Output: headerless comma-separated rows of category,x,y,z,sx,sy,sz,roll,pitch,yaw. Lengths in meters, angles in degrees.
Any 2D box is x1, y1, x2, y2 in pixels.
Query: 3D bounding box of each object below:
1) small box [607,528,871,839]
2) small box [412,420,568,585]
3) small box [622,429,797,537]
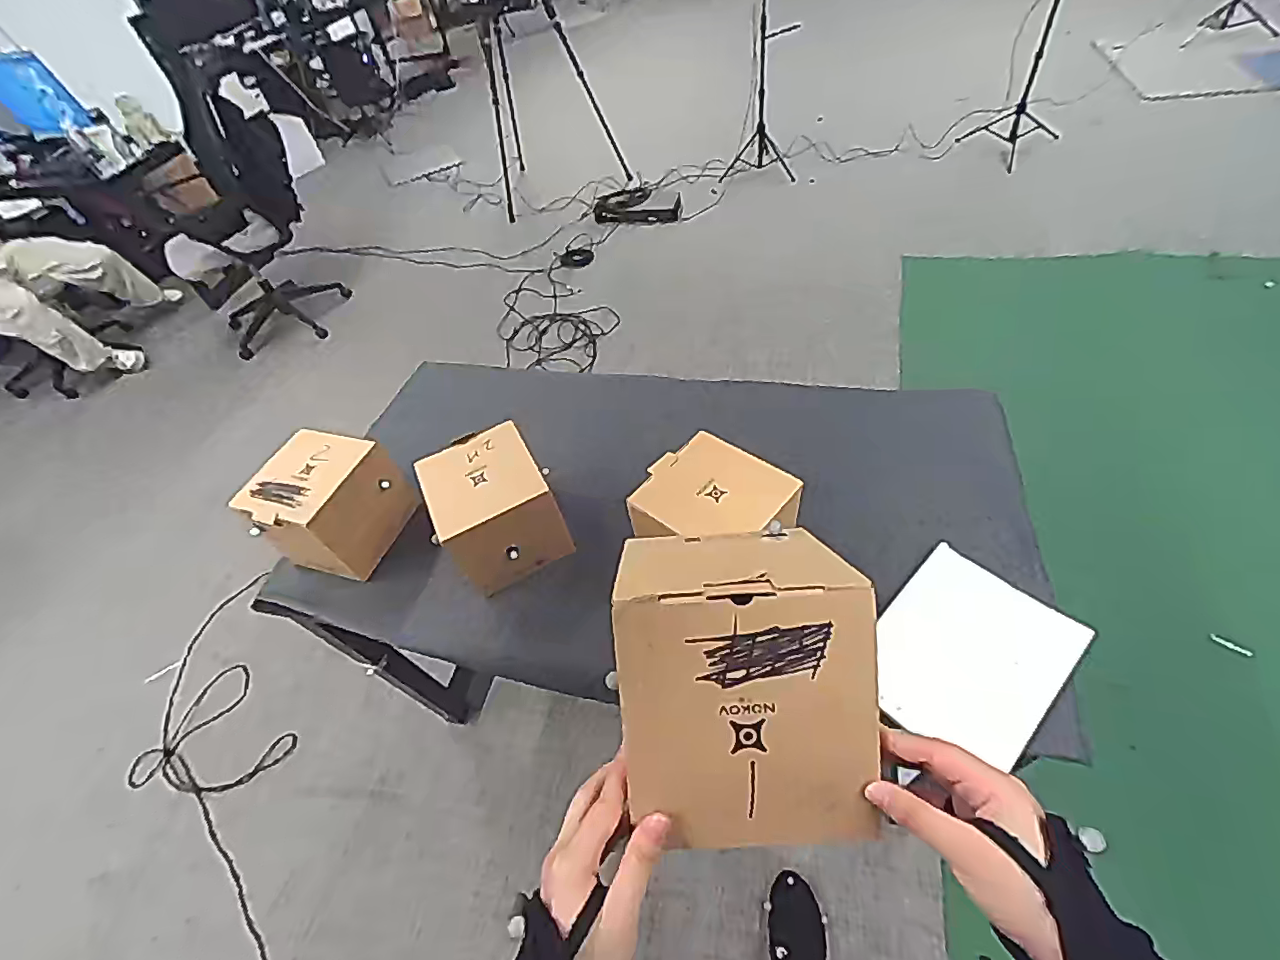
small box,0.067,0.139,0.428,0.168,0.179,0.176,-5,8,3
small box,-0.232,0.043,0.858,0.168,0.176,0.179,-26,51,-12
small box,0.103,0.064,0.779,0.179,0.176,0.168,32,62,32
